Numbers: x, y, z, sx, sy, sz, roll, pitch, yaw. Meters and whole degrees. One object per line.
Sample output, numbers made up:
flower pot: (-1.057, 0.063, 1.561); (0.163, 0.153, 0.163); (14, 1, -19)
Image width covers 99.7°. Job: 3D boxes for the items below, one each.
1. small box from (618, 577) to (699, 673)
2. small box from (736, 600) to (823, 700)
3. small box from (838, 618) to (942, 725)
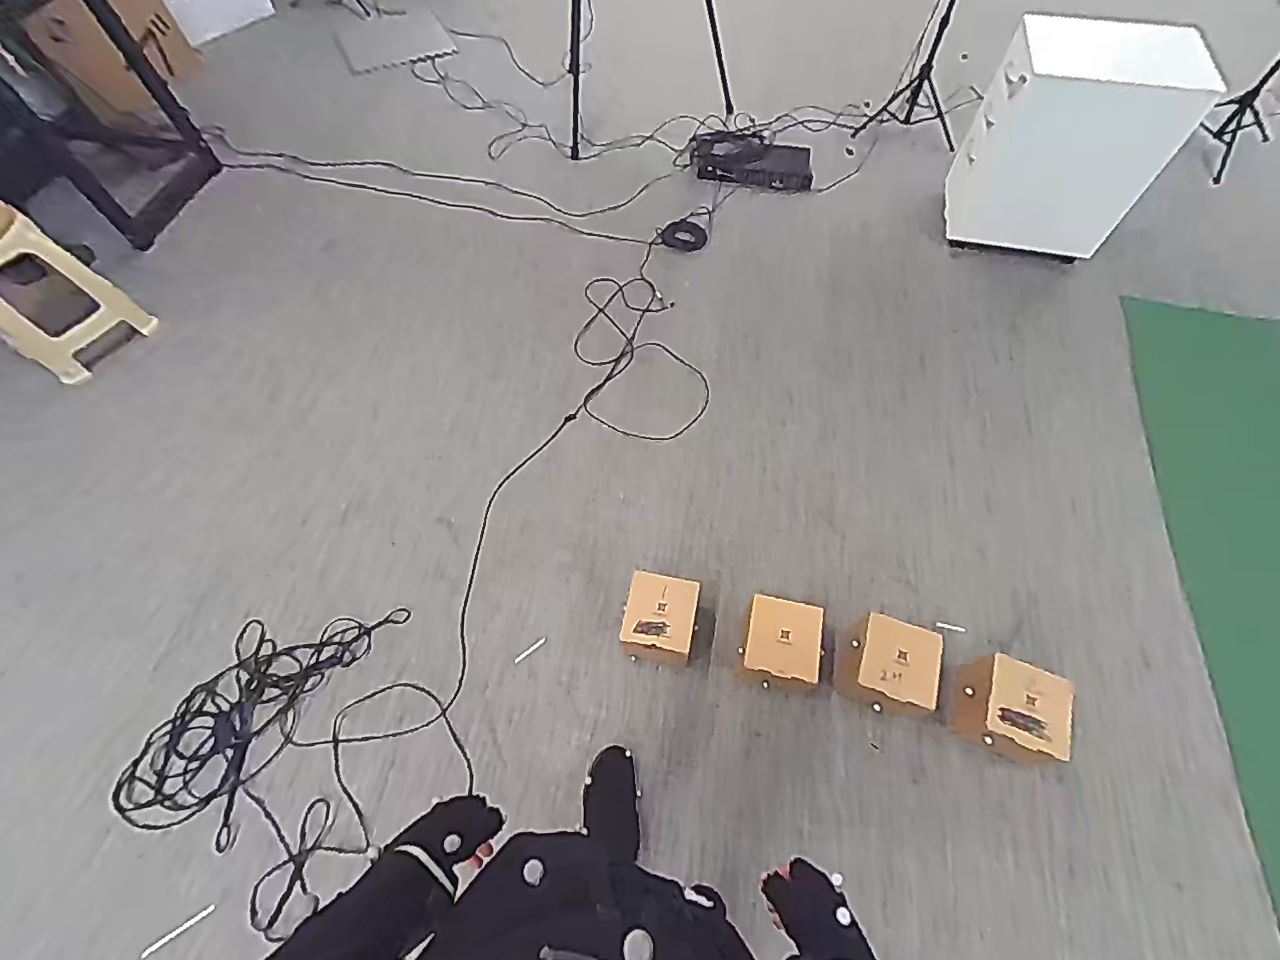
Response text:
small box: (0.048, 0.364, 1.342); (0.168, 0.176, 0.179); (10, 60, 7)
small box: (0.332, 0.415, 1.306); (0.168, 0.176, 0.179); (11, 61, 8)
small box: (0.584, 0.455, 1.275); (0.168, 0.176, 0.179); (18, 63, 12)
